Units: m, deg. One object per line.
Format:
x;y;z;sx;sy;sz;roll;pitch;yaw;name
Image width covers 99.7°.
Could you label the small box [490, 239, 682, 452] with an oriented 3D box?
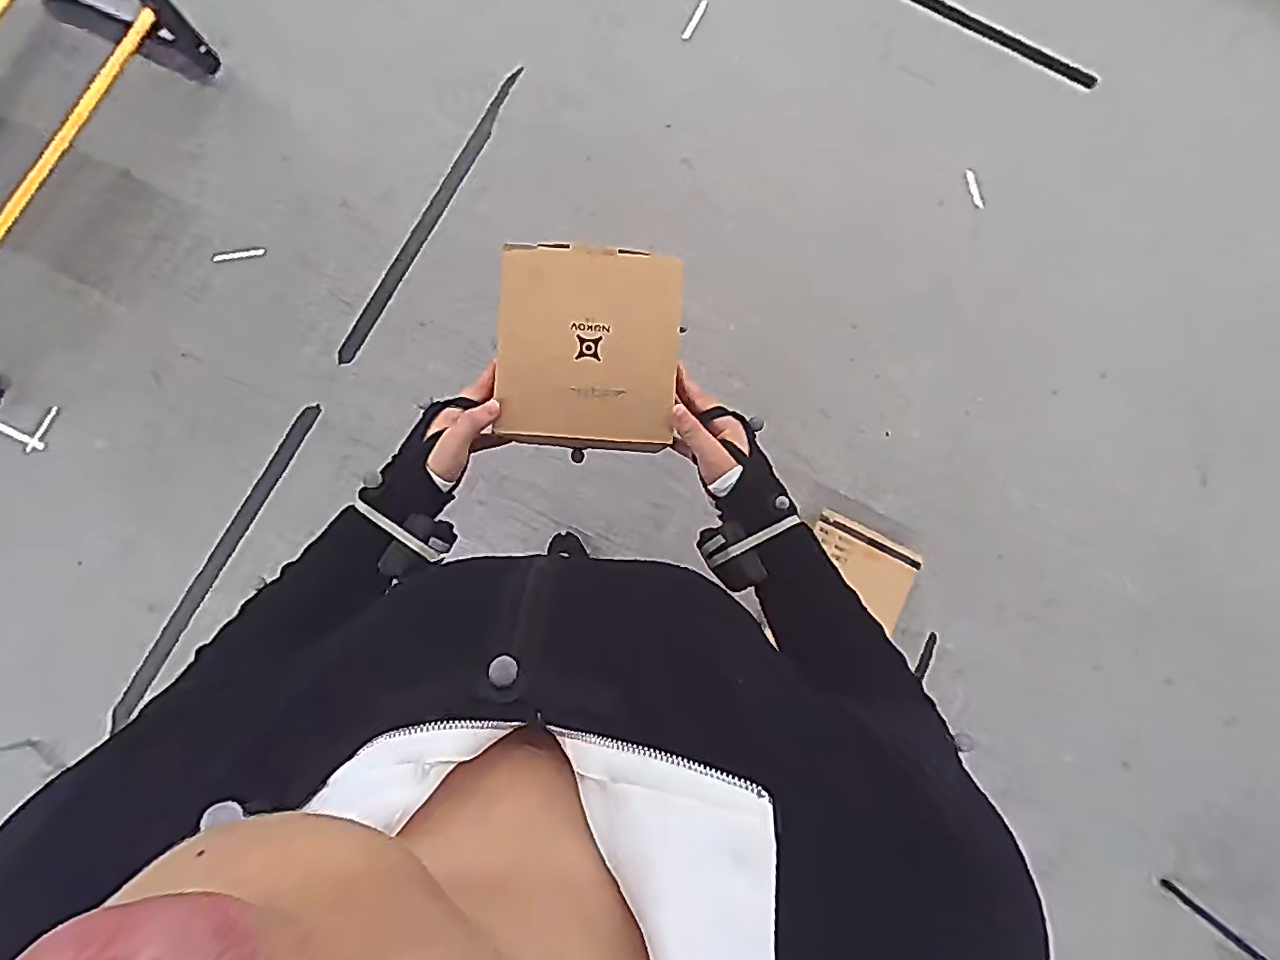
-0.053;-0.125;0.569;0.168;0.176;0.179;3;91;-3;small box
